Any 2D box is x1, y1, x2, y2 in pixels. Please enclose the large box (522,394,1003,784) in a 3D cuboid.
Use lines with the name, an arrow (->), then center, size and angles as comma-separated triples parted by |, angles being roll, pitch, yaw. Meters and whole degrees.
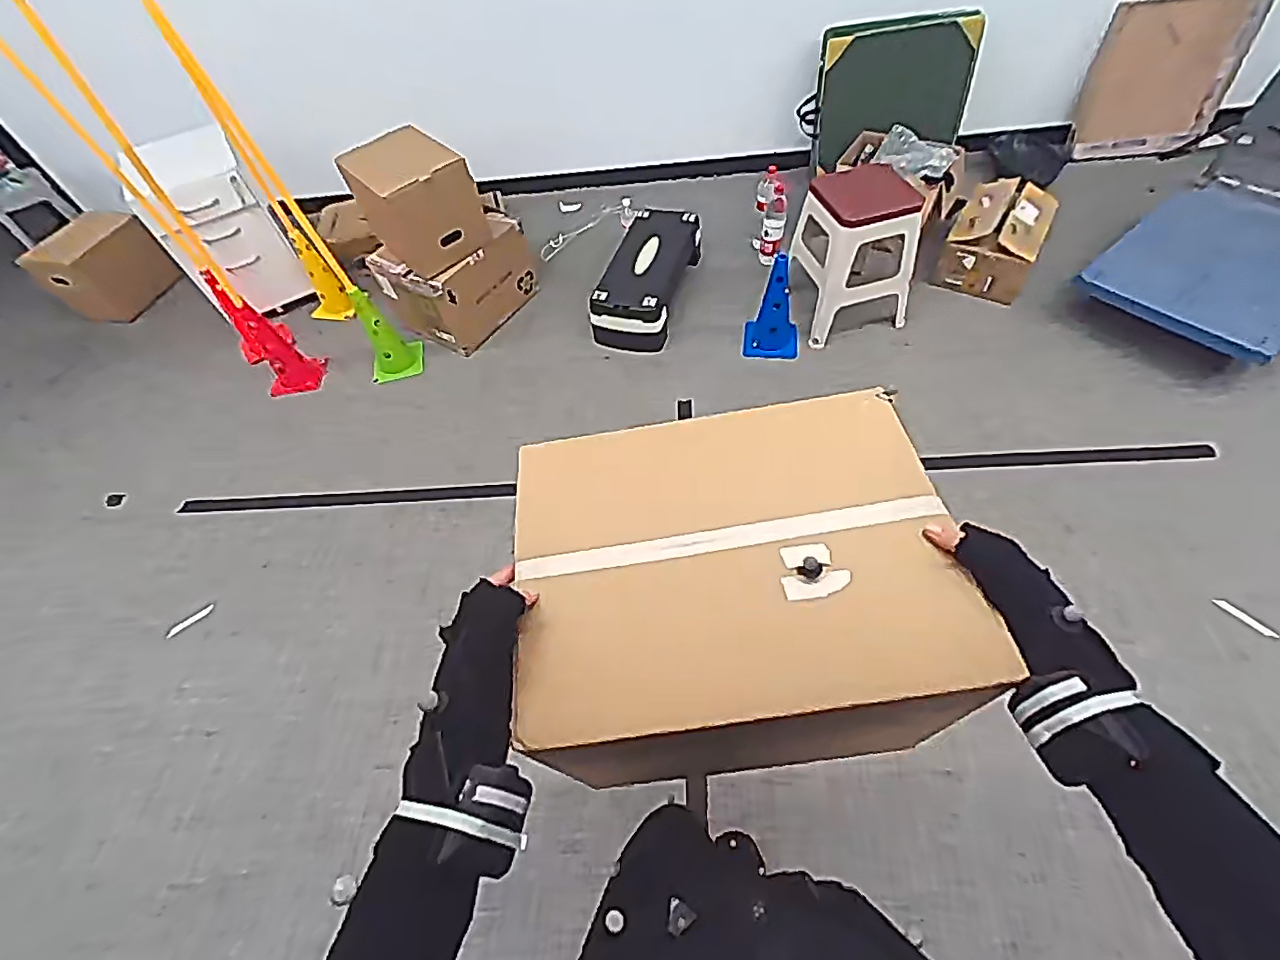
large box -> 0.098, 0.144, 0.643 | 0.408, 0.320, 0.320 | -9, 55, 2
